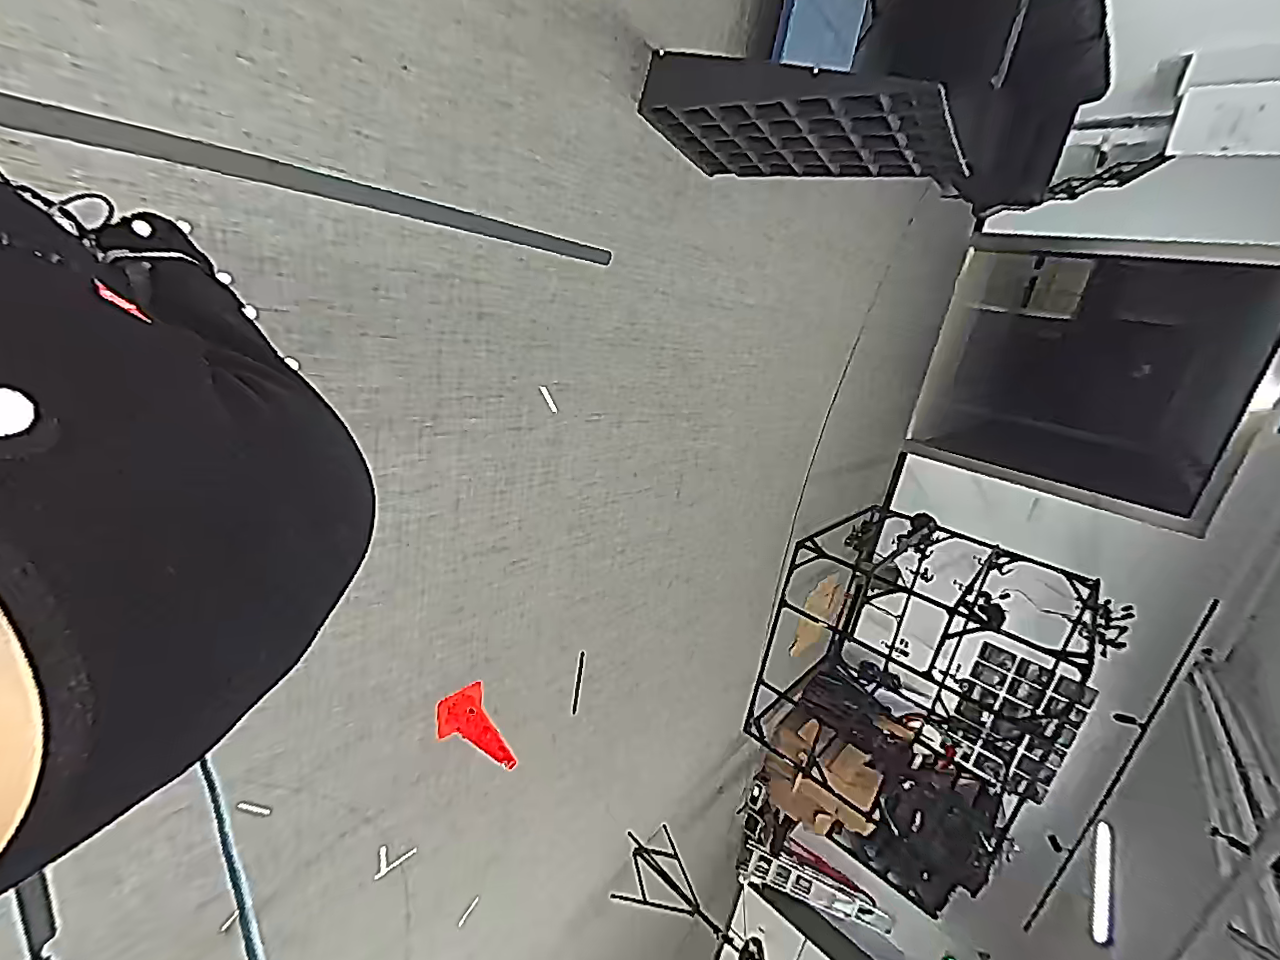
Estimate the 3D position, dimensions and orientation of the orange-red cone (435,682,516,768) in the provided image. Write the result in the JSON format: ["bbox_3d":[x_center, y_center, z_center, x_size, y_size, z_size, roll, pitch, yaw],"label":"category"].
[{"bbox_3d":[-0.596,0.971,2.053,0.198,0.360,0.199,-17,121,-47],"label":"orange-red cone"}]
